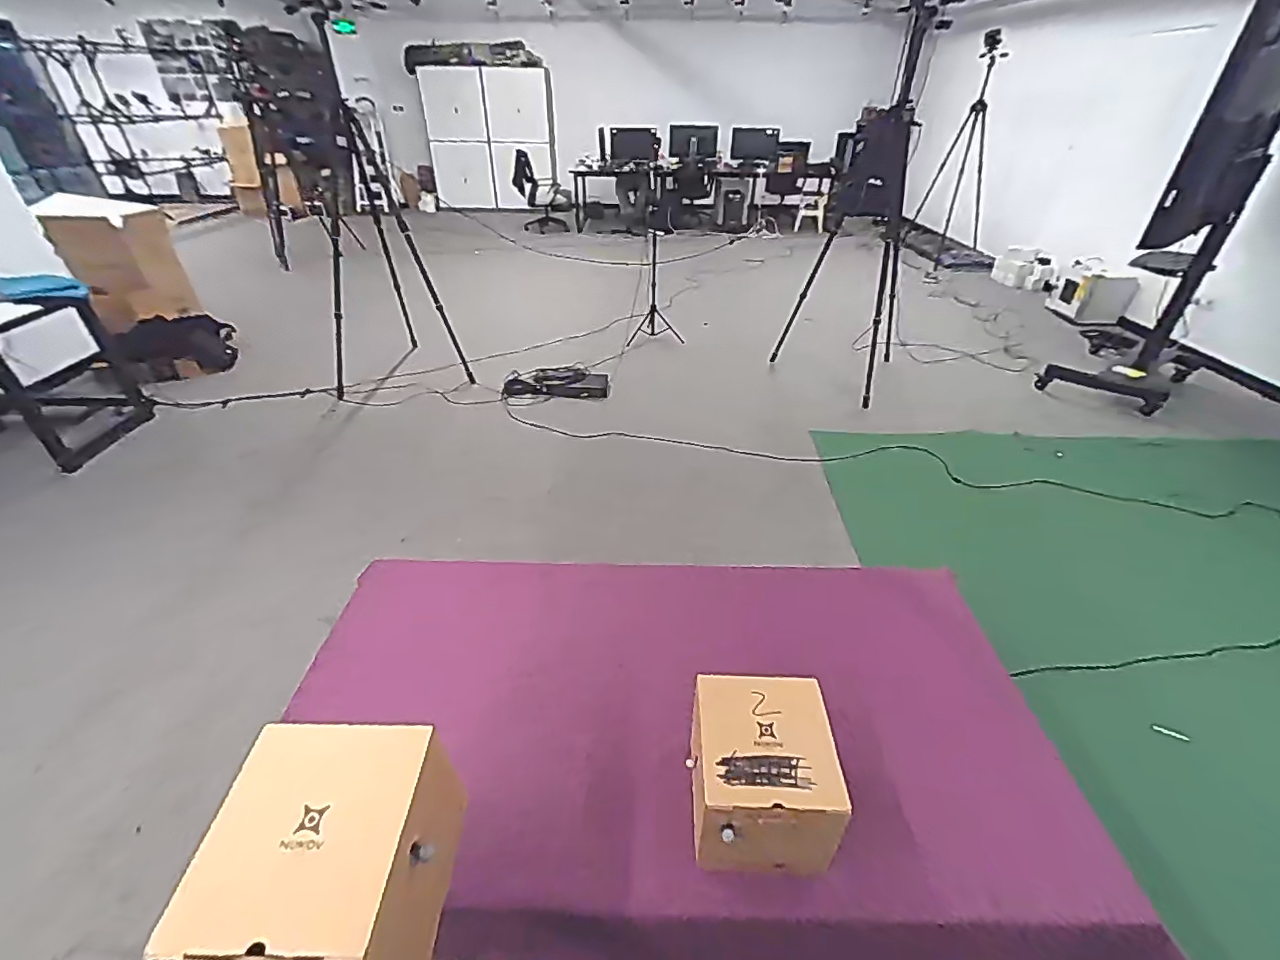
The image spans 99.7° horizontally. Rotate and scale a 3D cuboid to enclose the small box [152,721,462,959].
[{"bbox_3d":[-0.279,0.355,0.510,0.168,0.176,0.179,2,41,0],"label":"small box"}]
